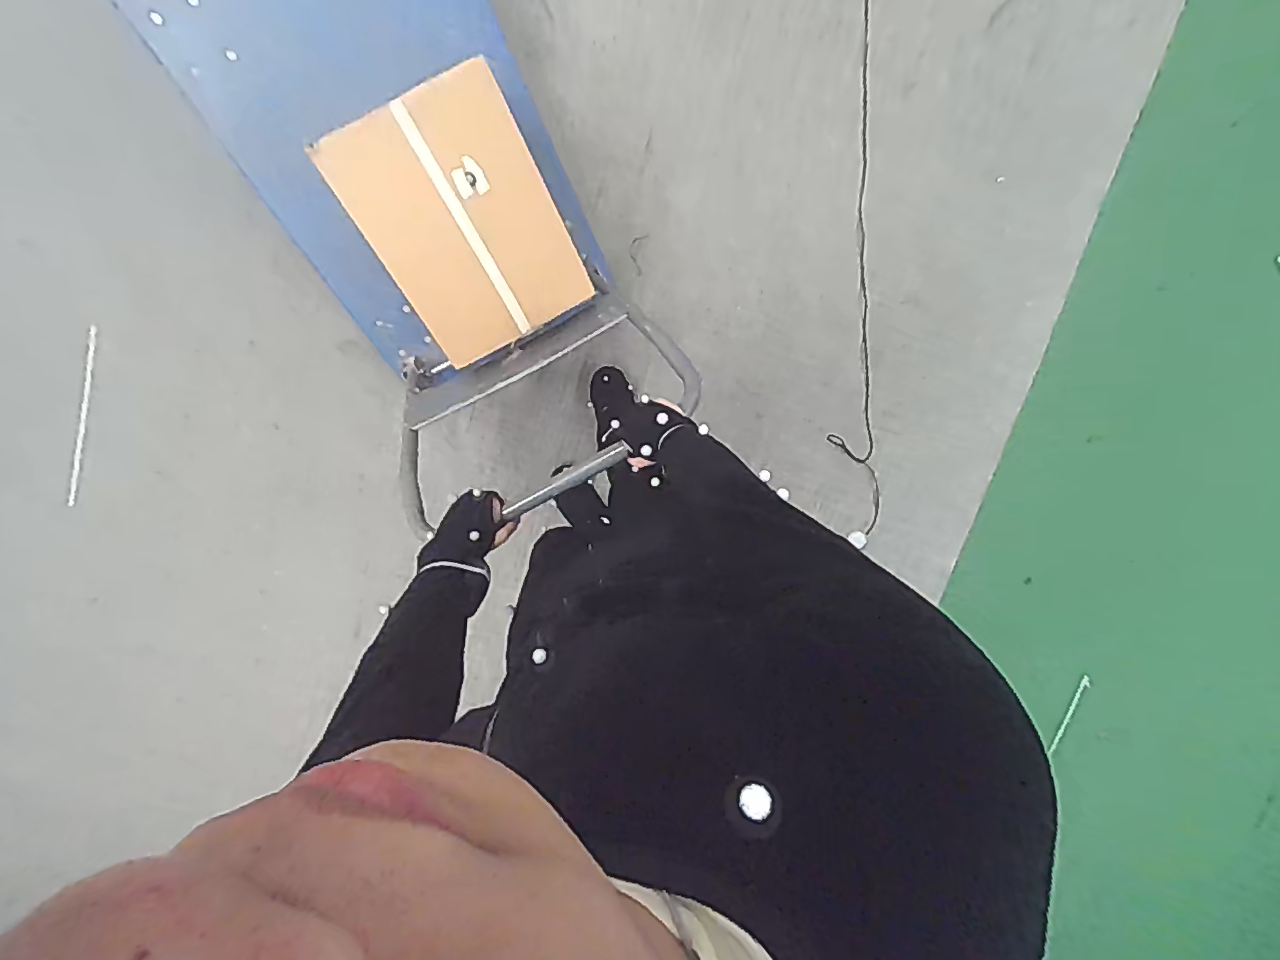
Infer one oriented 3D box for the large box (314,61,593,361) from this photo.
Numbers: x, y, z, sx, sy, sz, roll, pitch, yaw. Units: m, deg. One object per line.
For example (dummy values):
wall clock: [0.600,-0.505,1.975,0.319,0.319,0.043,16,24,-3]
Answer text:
large box: [-0.341,-0.518,1.082,0.320,0.320,0.408,-29,124,-1]
